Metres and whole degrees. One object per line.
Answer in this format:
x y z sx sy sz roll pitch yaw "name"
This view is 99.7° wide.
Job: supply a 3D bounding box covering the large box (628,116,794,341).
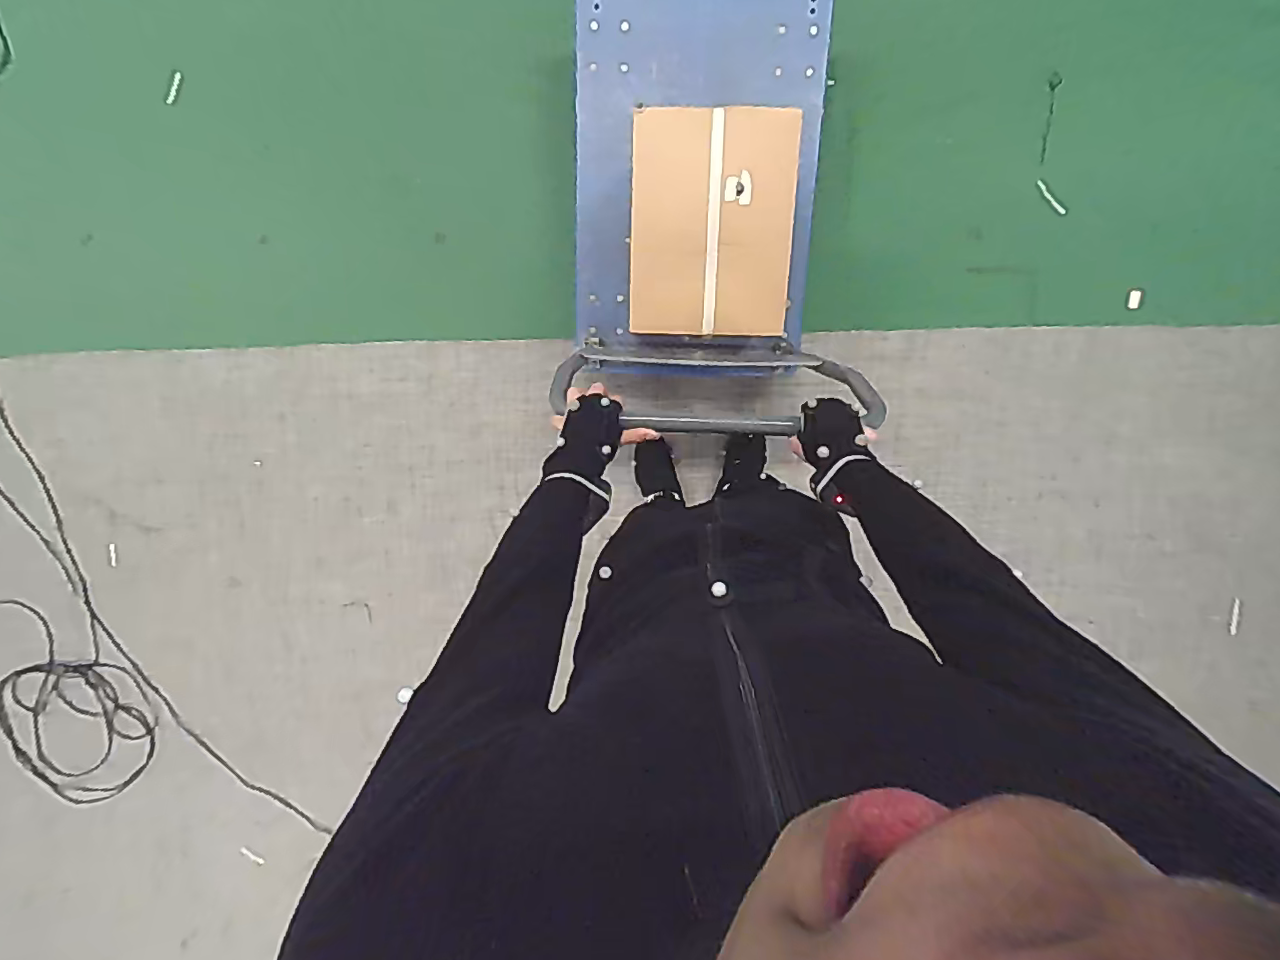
0.139 -0.520 1.200 0.320 0.320 0.408 2 104 1 "large box"
